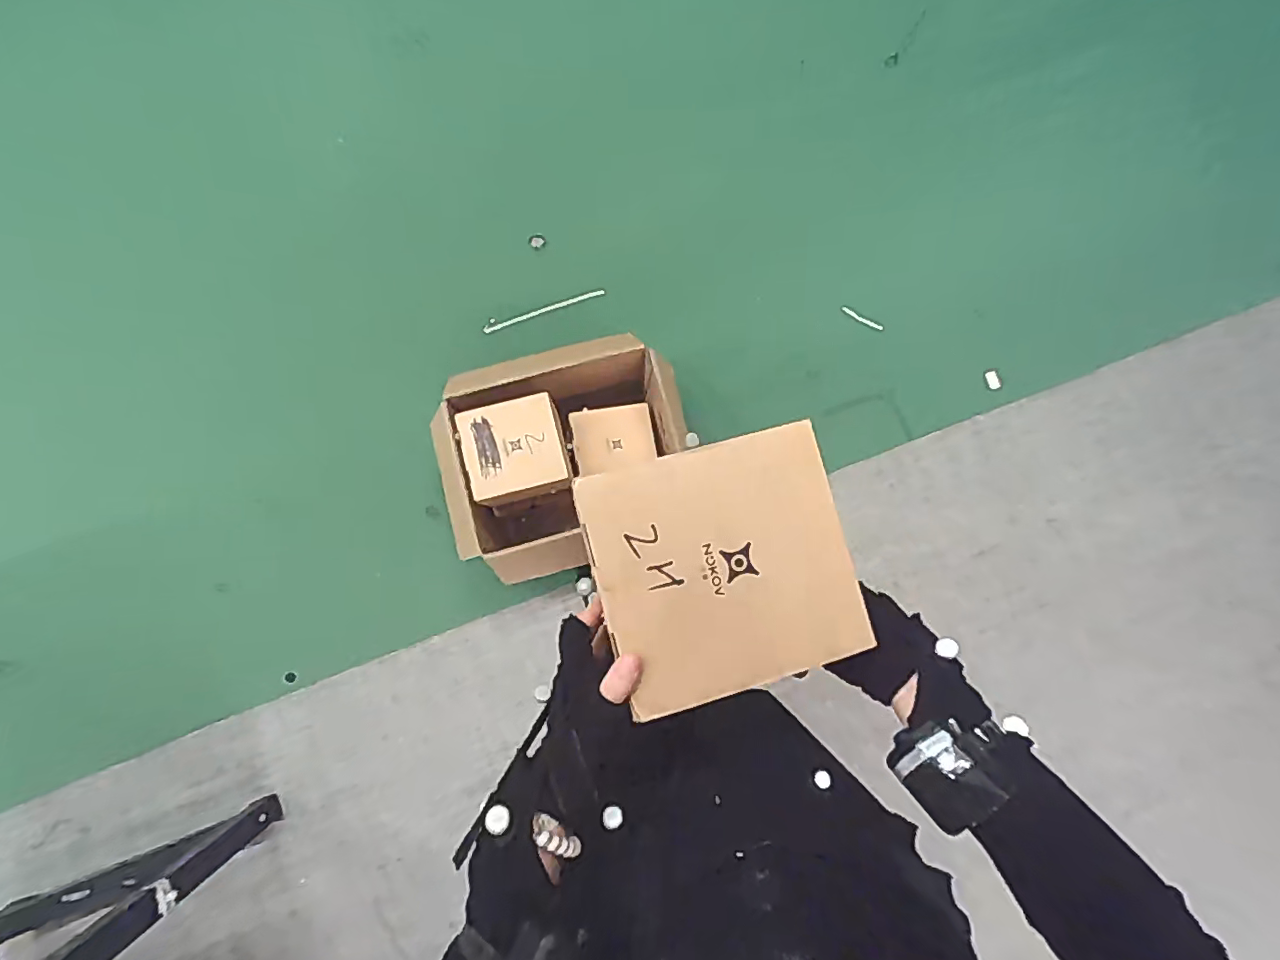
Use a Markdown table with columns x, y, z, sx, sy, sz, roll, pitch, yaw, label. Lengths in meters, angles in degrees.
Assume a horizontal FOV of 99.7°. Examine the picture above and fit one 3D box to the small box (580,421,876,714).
| x | y | z | sx | sy | sz | roll | pitch | yaw | label |
| --- | --- | --- | --- | --- | --- | --- | --- | --- | --- |
| 0.052 | 0.063 | 0.445 | 0.179 | 0.176 | 0.168 | -14 | 85 | -7 | small box |
